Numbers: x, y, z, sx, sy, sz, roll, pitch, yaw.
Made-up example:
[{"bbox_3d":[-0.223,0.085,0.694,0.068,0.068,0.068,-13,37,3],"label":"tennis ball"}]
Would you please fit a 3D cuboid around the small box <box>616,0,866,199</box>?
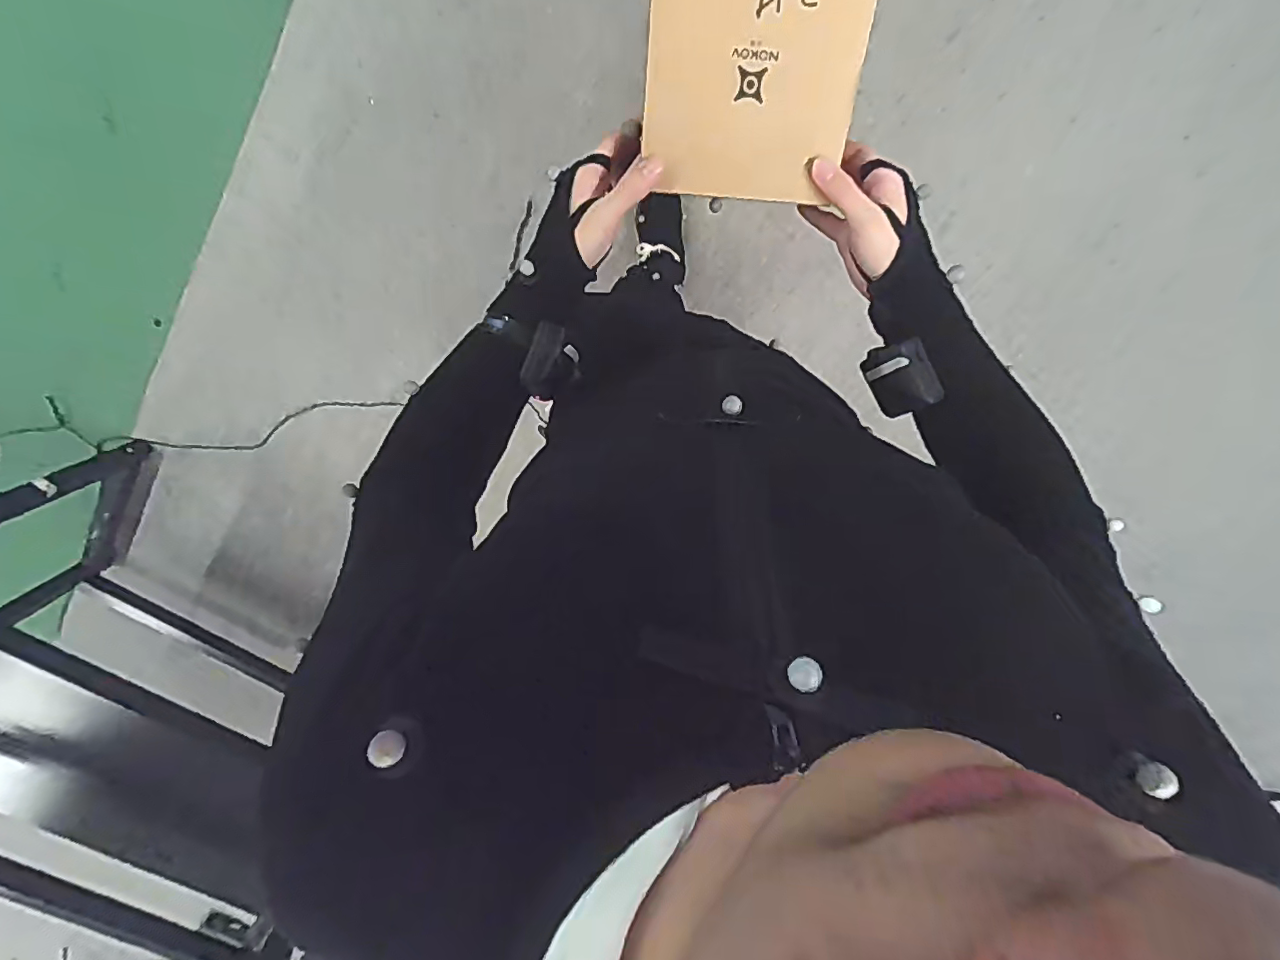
[{"bbox_3d":[0.072,-0.351,0.460,0.168,0.176,0.179,5,120,-4],"label":"small box"}]
